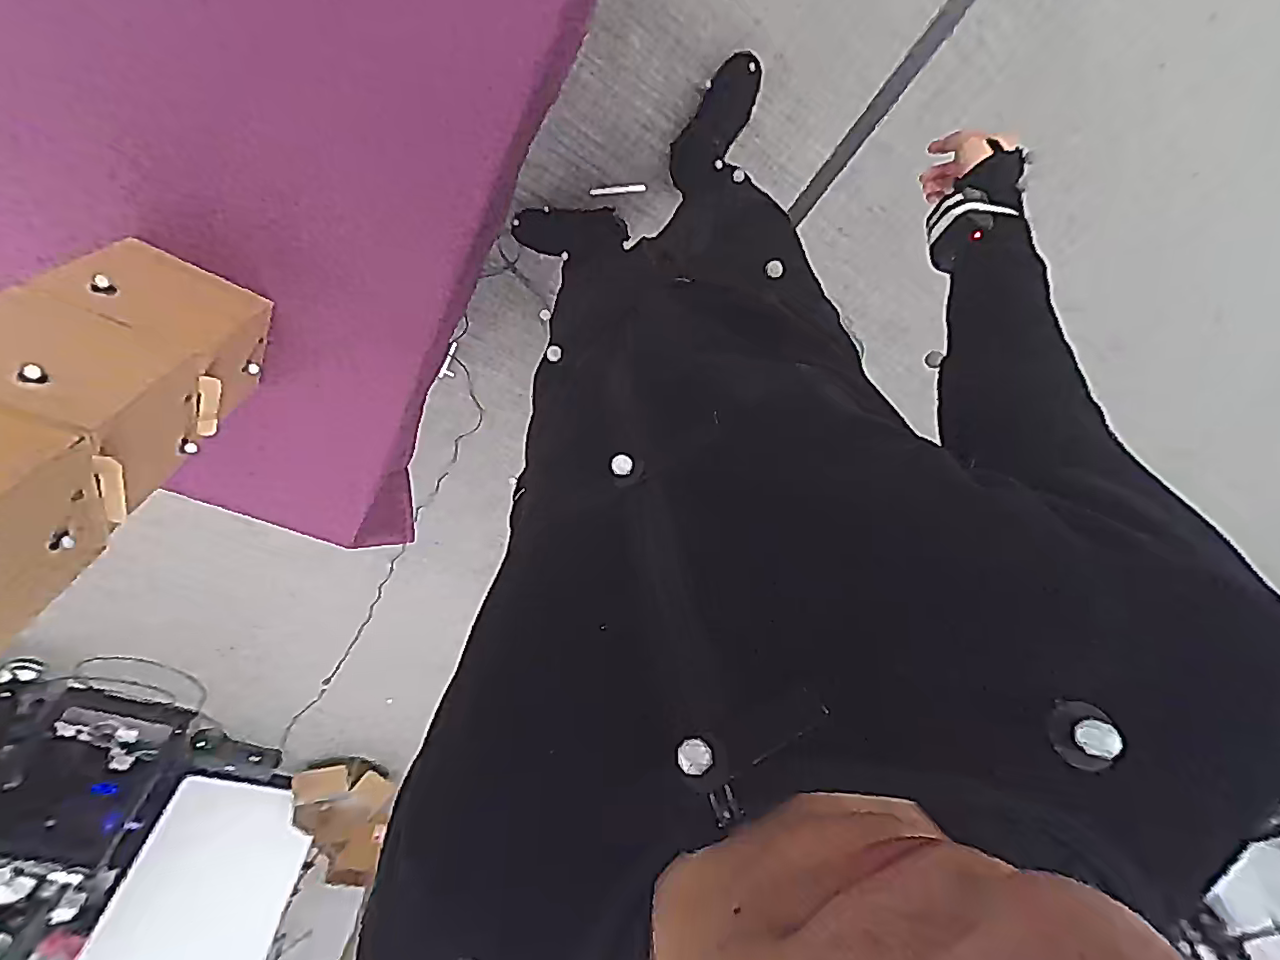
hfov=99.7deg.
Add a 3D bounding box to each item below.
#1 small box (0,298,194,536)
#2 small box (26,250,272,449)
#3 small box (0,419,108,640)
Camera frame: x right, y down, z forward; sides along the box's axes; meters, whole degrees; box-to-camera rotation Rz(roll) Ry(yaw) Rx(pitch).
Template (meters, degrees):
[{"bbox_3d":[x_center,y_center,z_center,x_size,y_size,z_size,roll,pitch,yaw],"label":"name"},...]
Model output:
[{"bbox_3d":[-0.634,-0.072,0.594,0.179,0.176,0.168,22,126,-18],"label":"small box"},{"bbox_3d":[-0.636,-0.179,0.719,0.179,0.176,0.168,24,126,-21],"label":"small box"},{"bbox_3d":[-0.641,0.043,0.477,0.179,0.176,0.168,17,127,-16],"label":"small box"}]
